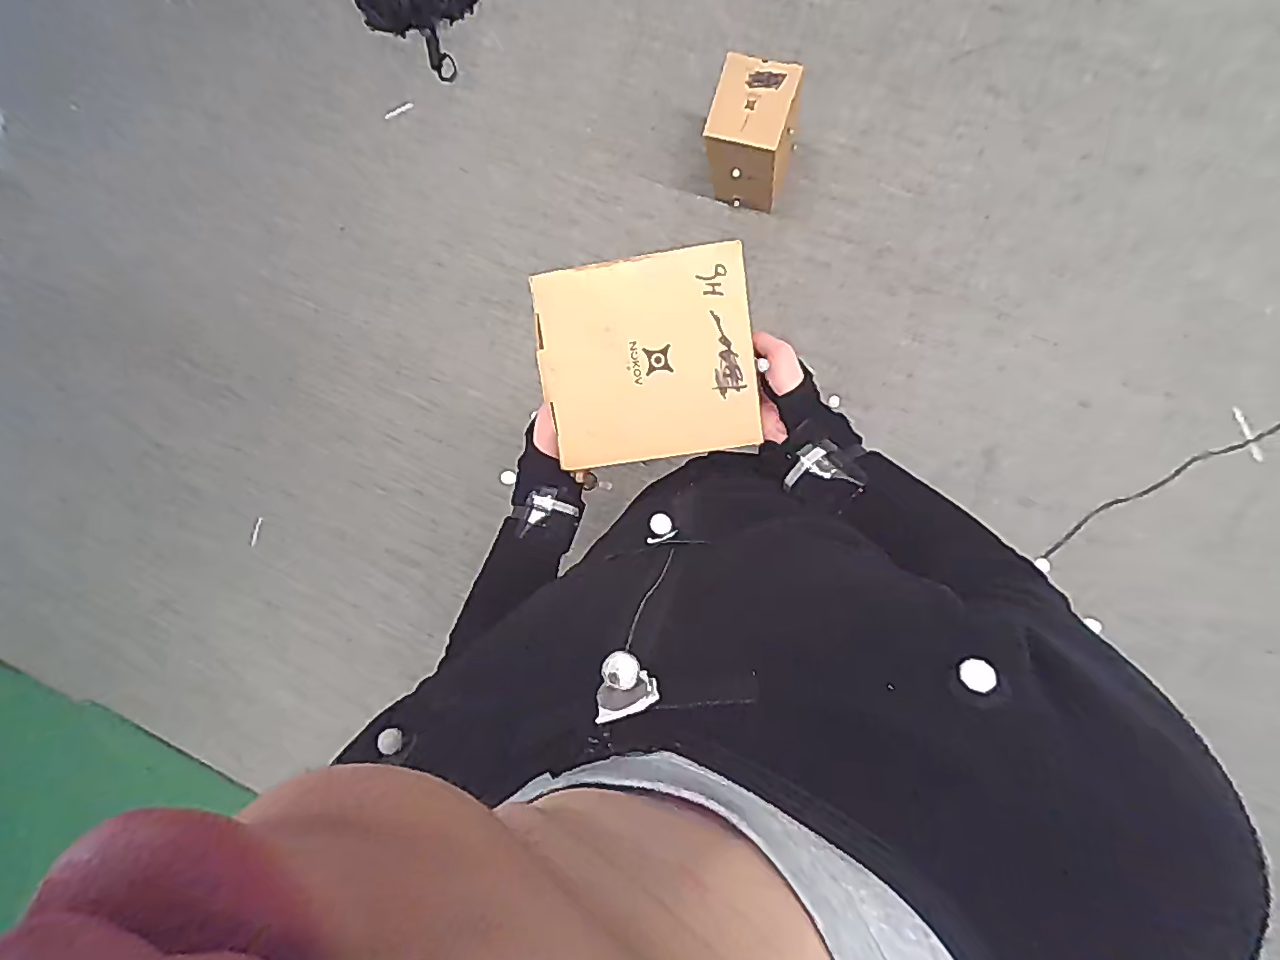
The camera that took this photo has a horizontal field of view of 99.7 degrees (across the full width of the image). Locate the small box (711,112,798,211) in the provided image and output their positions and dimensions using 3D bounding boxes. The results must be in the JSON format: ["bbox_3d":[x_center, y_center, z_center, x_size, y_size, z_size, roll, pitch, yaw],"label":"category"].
[{"bbox_3d":[0.291,-0.824,1.382,0.168,0.176,0.179,20,98,11],"label":"small box"}]

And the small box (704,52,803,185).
[{"bbox_3d":[0.253,-0.808,1.222,0.168,0.176,0.179,19,98,11],"label":"small box"}]
